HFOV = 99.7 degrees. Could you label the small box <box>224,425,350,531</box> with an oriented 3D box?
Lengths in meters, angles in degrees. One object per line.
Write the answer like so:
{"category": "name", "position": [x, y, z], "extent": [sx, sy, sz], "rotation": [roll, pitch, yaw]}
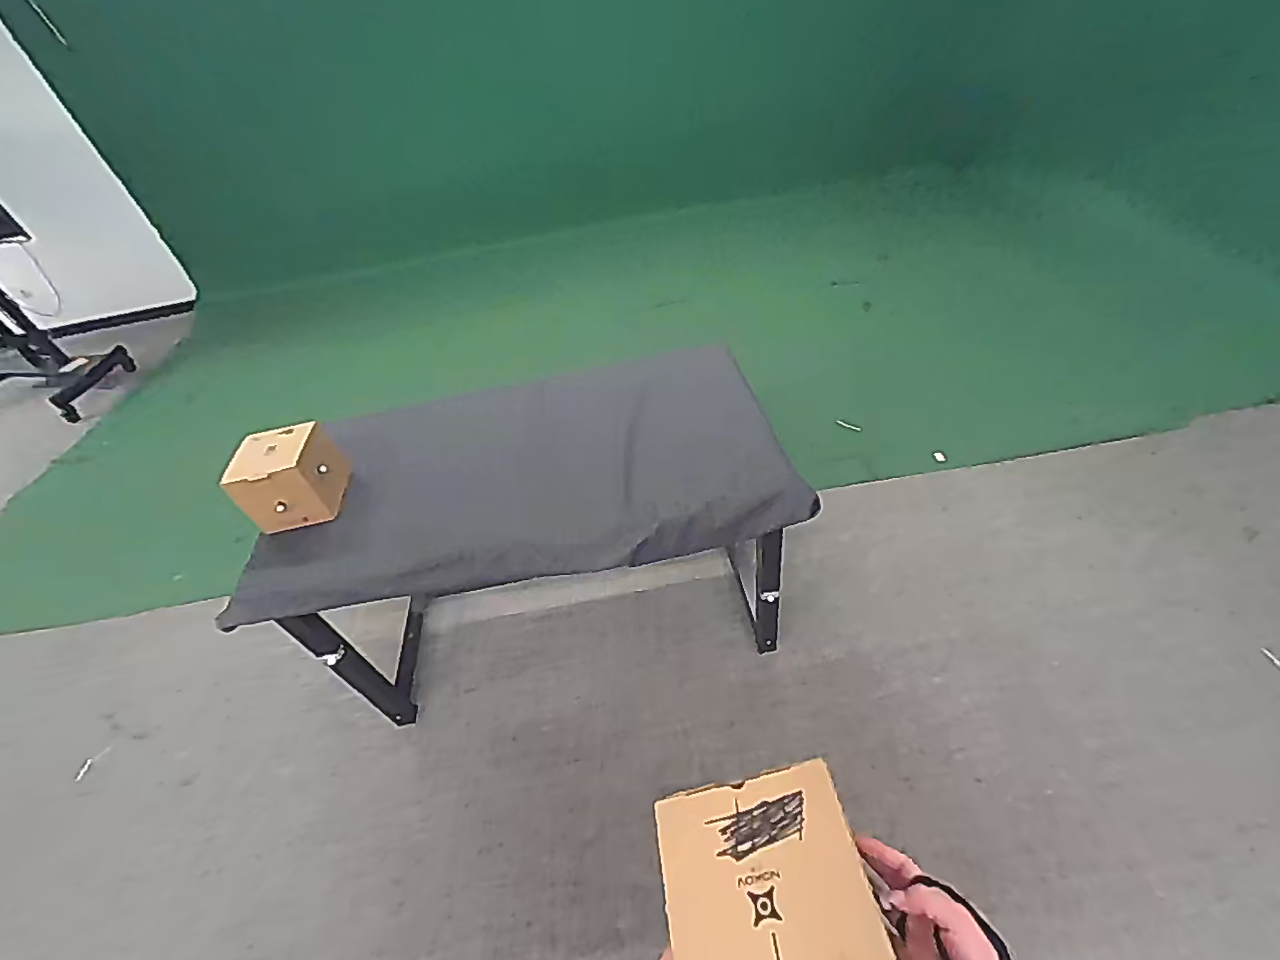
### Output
{"category": "small box", "position": [-0.812, 0.002, 1.266], "extent": [0.168, 0.176, 0.179], "rotation": [-12, 44, -3]}
